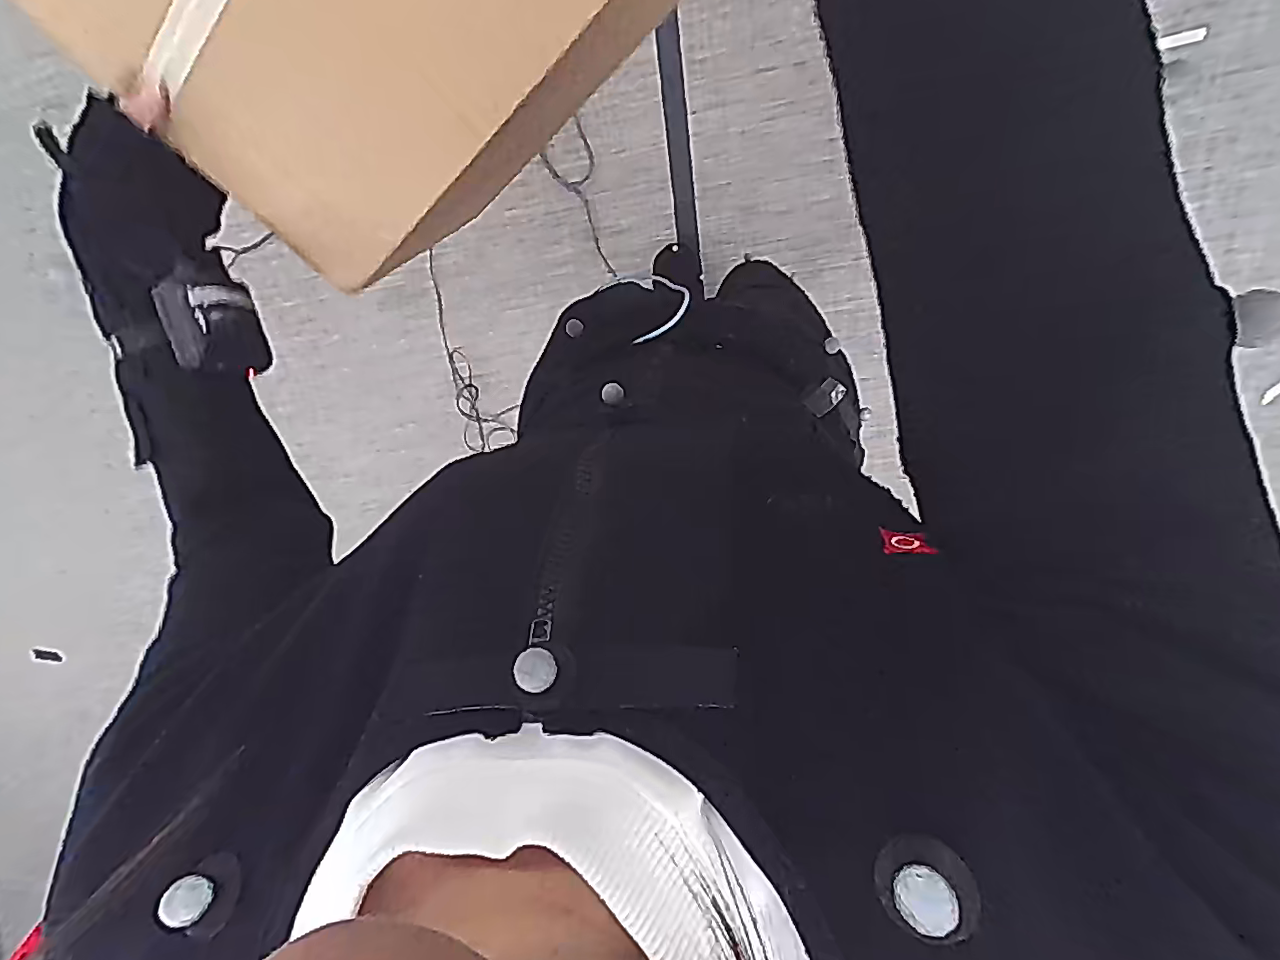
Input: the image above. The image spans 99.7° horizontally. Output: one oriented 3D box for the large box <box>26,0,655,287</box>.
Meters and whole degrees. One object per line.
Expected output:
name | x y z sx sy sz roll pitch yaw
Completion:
large box | -0.172 -0.434 0.409 0.408 0.320 0.320 -35 117 25
